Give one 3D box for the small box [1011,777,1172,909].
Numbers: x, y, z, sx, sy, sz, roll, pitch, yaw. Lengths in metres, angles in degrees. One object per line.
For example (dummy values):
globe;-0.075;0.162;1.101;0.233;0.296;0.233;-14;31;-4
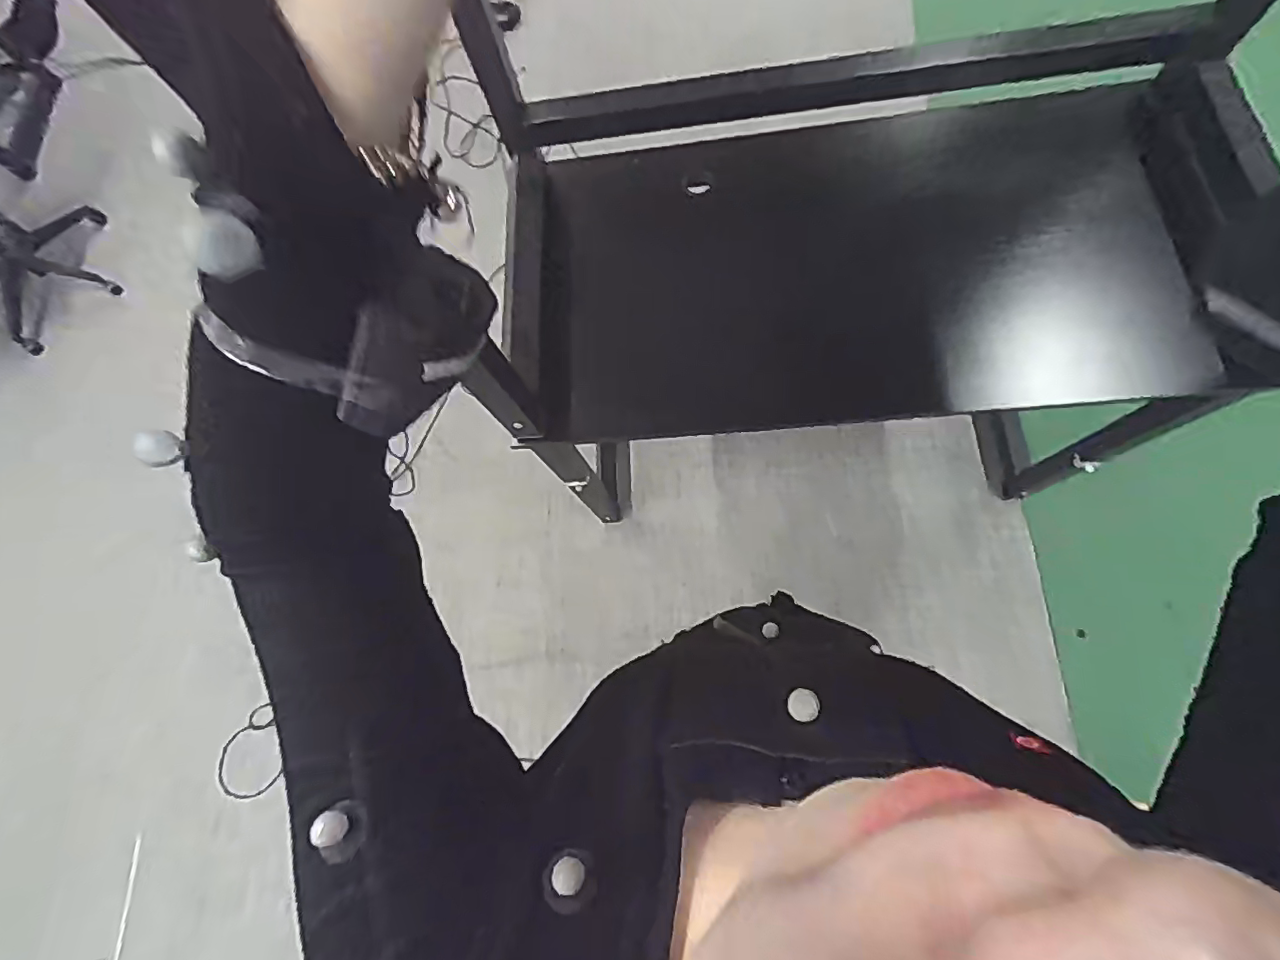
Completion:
small box;0.857;0.693;1.052;0.179;0.176;0.168;-2;75;7
